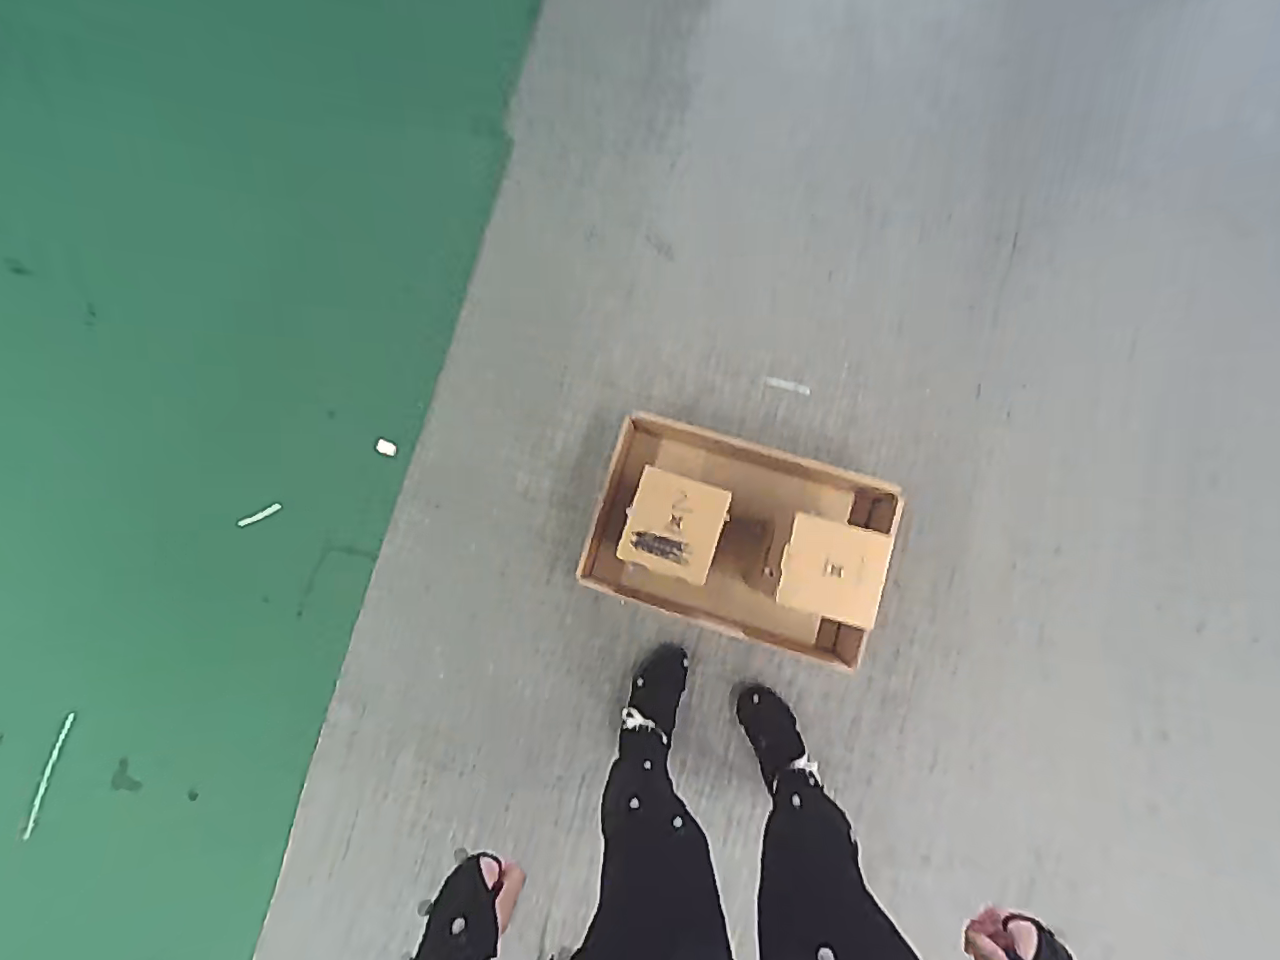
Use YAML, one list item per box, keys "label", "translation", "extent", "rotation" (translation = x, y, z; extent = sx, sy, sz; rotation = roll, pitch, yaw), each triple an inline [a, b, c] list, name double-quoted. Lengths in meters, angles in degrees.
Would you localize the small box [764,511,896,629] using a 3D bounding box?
- label: "small box"
  translation: [0.344, 0.164, 1.014]
  extent: [0.179, 0.176, 0.168]
  rotation: [15, 86, 5]
